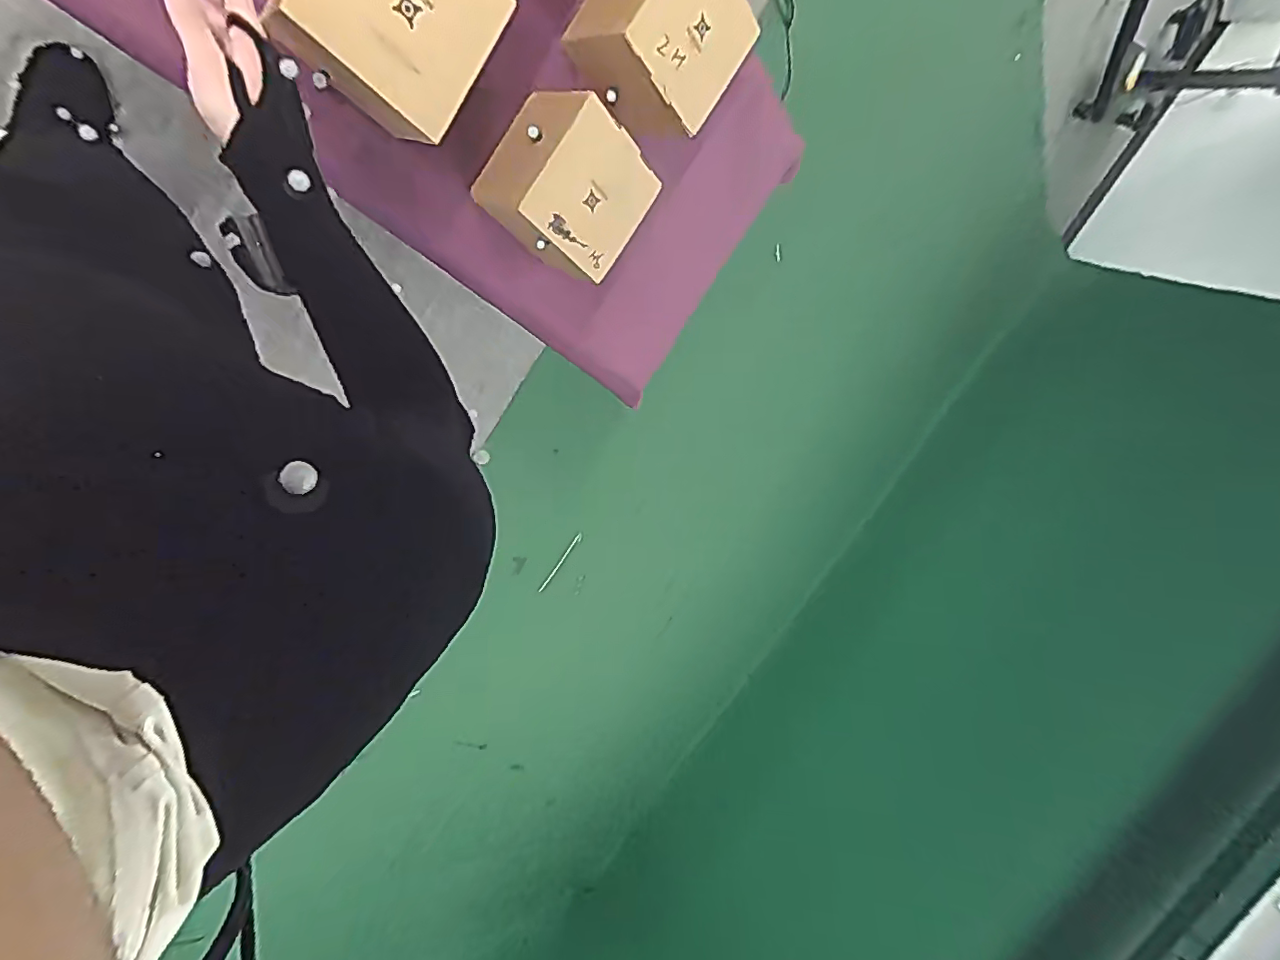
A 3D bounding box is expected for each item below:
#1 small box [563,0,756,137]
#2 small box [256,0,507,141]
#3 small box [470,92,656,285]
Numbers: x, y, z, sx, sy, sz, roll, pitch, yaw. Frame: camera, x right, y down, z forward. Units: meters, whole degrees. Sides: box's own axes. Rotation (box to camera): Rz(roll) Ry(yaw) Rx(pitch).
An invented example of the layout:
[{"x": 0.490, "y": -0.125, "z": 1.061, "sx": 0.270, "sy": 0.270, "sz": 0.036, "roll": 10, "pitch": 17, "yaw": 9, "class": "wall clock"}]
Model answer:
[{"x": 0.023, "y": -0.626, "z": 0.761, "sx": 0.168, "sy": 0.176, "sz": 0.179, "roll": 29, "pitch": 98, "yaw": -48, "class": "small box"}, {"x": -0.283, "y": -0.507, "z": 0.582, "sx": 0.168, "sy": 0.176, "sz": 0.179, "roll": 28, "pitch": 99, "yaw": -47, "class": "small box"}, {"x": -0.117, "y": -0.423, "z": 0.787, "sx": 0.168, "sy": 0.176, "sz": 0.179, "roll": 30, "pitch": 96, "yaw": -48, "class": "small box"}]
